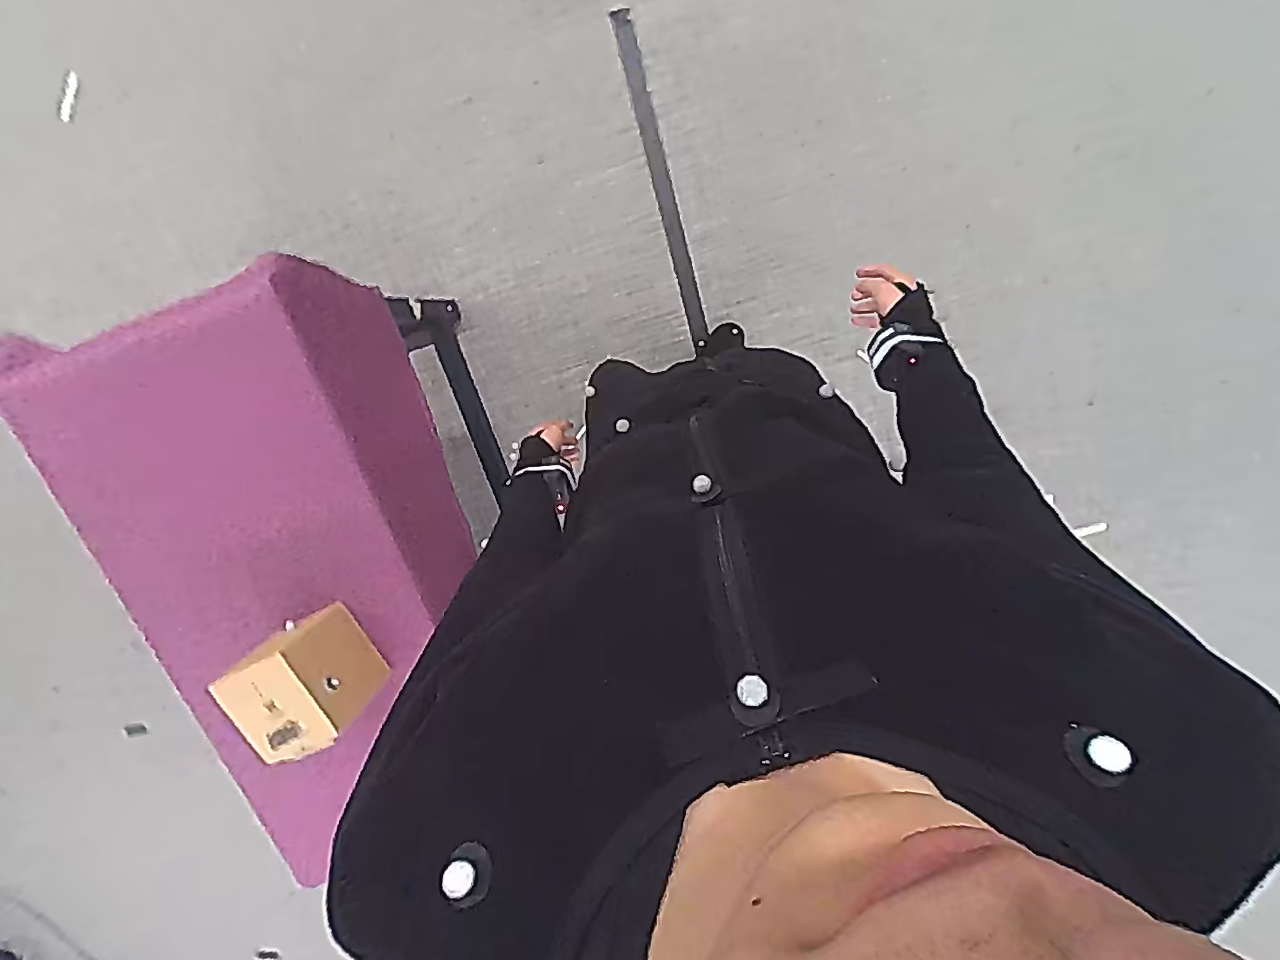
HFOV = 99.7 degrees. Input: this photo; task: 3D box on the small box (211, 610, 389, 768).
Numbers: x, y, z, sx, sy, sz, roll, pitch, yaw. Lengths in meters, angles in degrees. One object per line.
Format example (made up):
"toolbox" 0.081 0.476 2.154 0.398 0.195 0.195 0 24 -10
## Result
"small box" -0.596 0.370 0.976 0.168 0.176 0.179 -26 102 12
